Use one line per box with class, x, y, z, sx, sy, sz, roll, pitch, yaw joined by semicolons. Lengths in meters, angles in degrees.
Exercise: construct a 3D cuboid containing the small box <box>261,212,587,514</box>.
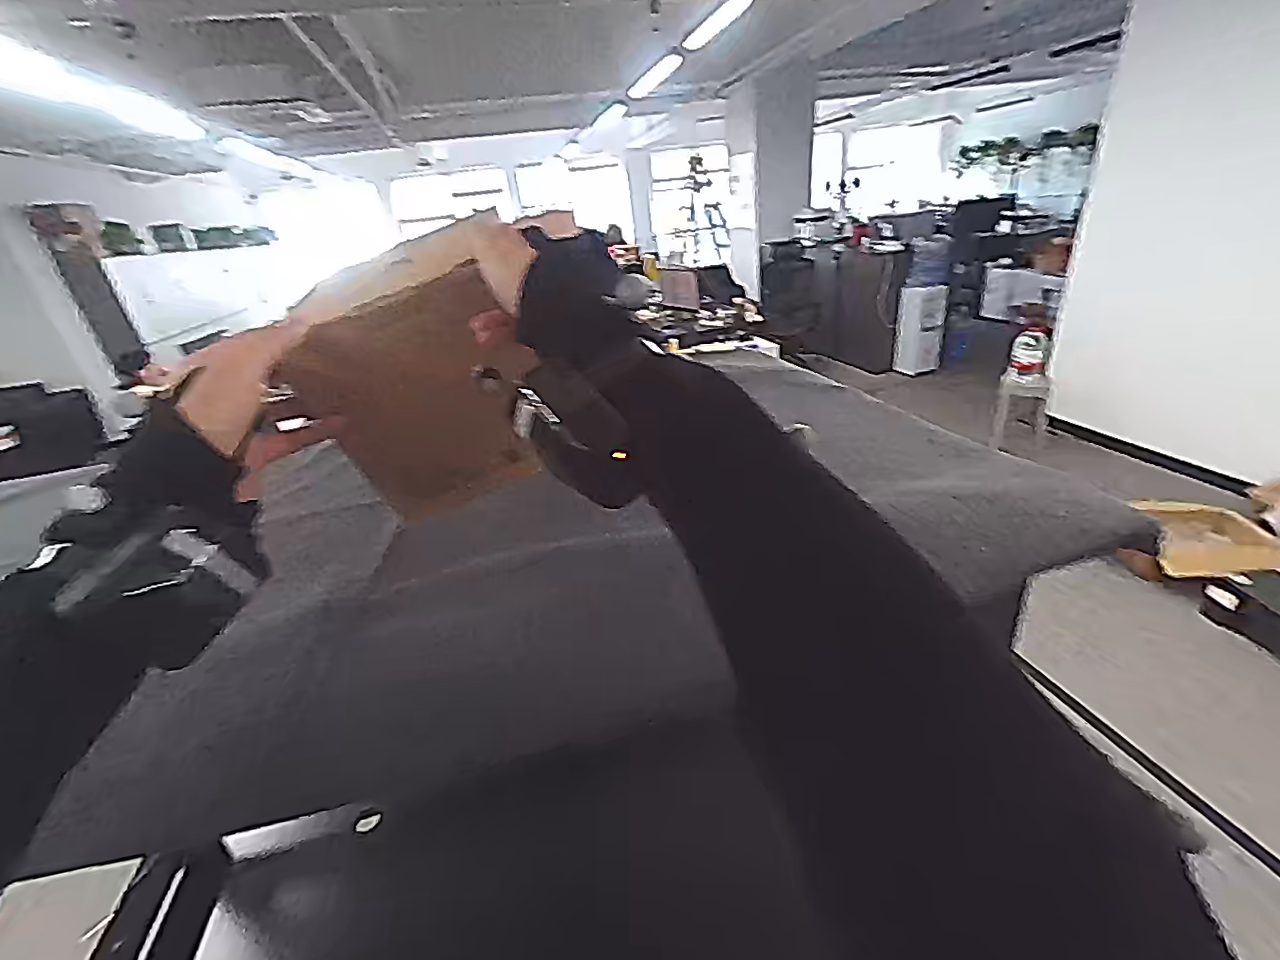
small box;-0.154;-0.093;0.447;0.168;0.176;0.179;-22;36;-1
